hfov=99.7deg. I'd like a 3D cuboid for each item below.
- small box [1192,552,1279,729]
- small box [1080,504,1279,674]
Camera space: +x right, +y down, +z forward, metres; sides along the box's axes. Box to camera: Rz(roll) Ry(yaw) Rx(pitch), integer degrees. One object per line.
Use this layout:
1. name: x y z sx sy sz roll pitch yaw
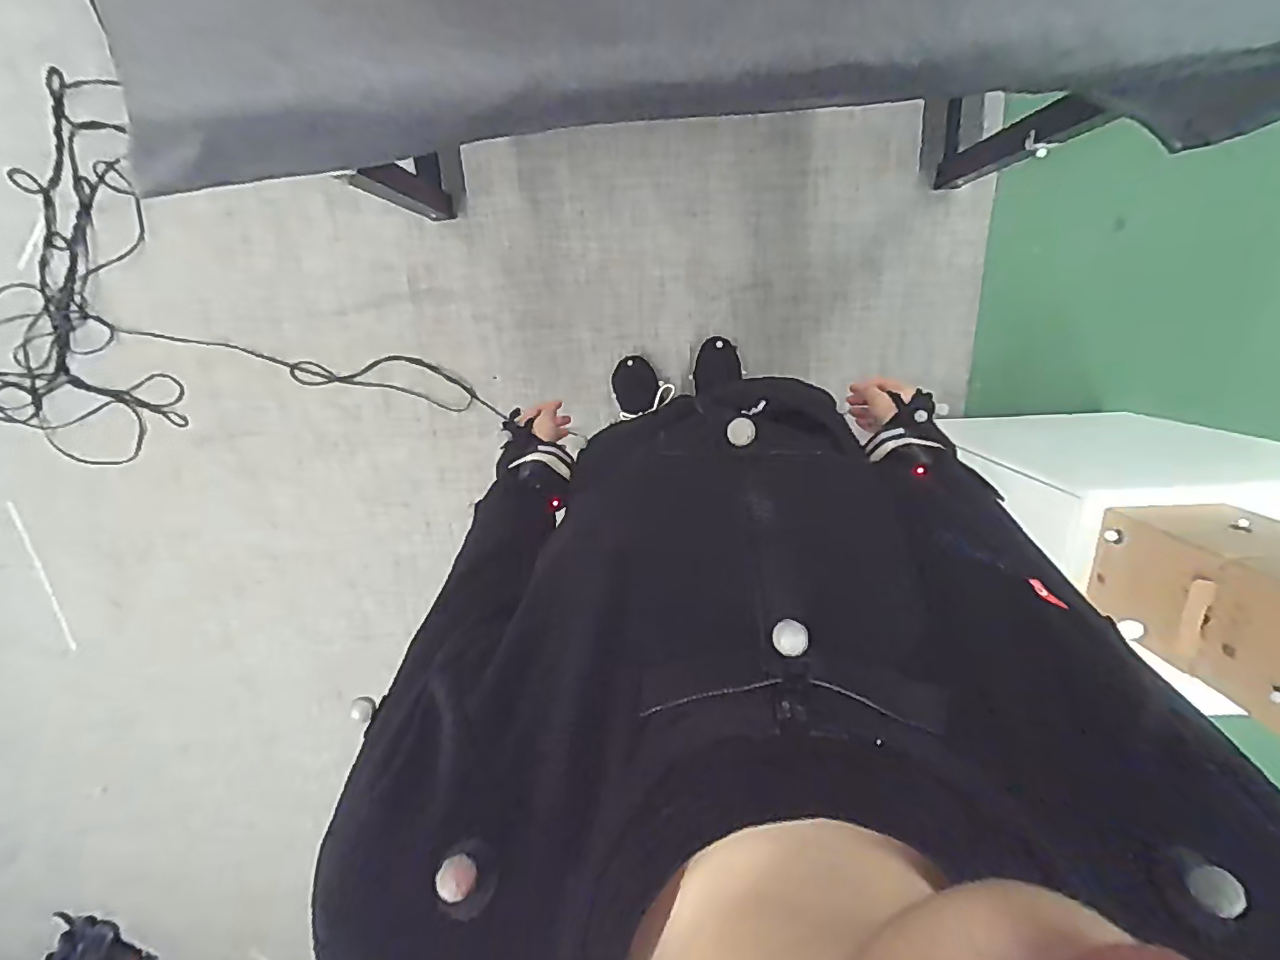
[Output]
1. small box: 0.753 0.182 0.566 0.179 0.176 0.168 -5 109 0
2. small box: 0.745 0.137 0.722 0.179 0.176 0.168 -2 107 0
